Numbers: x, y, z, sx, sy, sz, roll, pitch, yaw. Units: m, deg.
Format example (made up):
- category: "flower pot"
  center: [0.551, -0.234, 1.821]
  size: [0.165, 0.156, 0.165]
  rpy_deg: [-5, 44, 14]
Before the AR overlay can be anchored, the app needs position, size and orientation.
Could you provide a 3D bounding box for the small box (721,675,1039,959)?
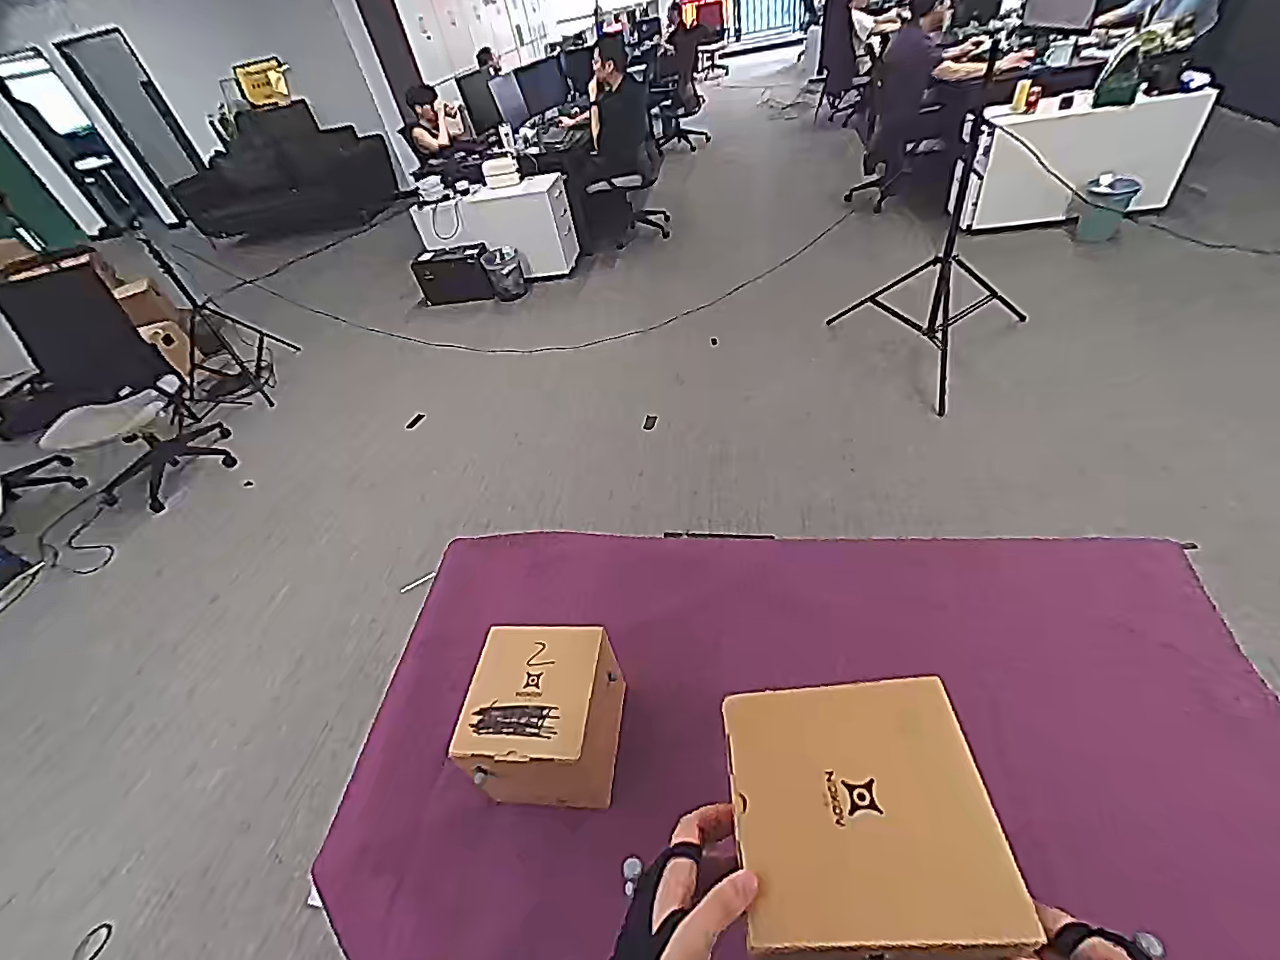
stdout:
- category: "small box"
  center: [0.169, 0.281, 0.439]
  size: [0.179, 0.176, 0.168]
  rpy_deg: [-10, 42, 10]
